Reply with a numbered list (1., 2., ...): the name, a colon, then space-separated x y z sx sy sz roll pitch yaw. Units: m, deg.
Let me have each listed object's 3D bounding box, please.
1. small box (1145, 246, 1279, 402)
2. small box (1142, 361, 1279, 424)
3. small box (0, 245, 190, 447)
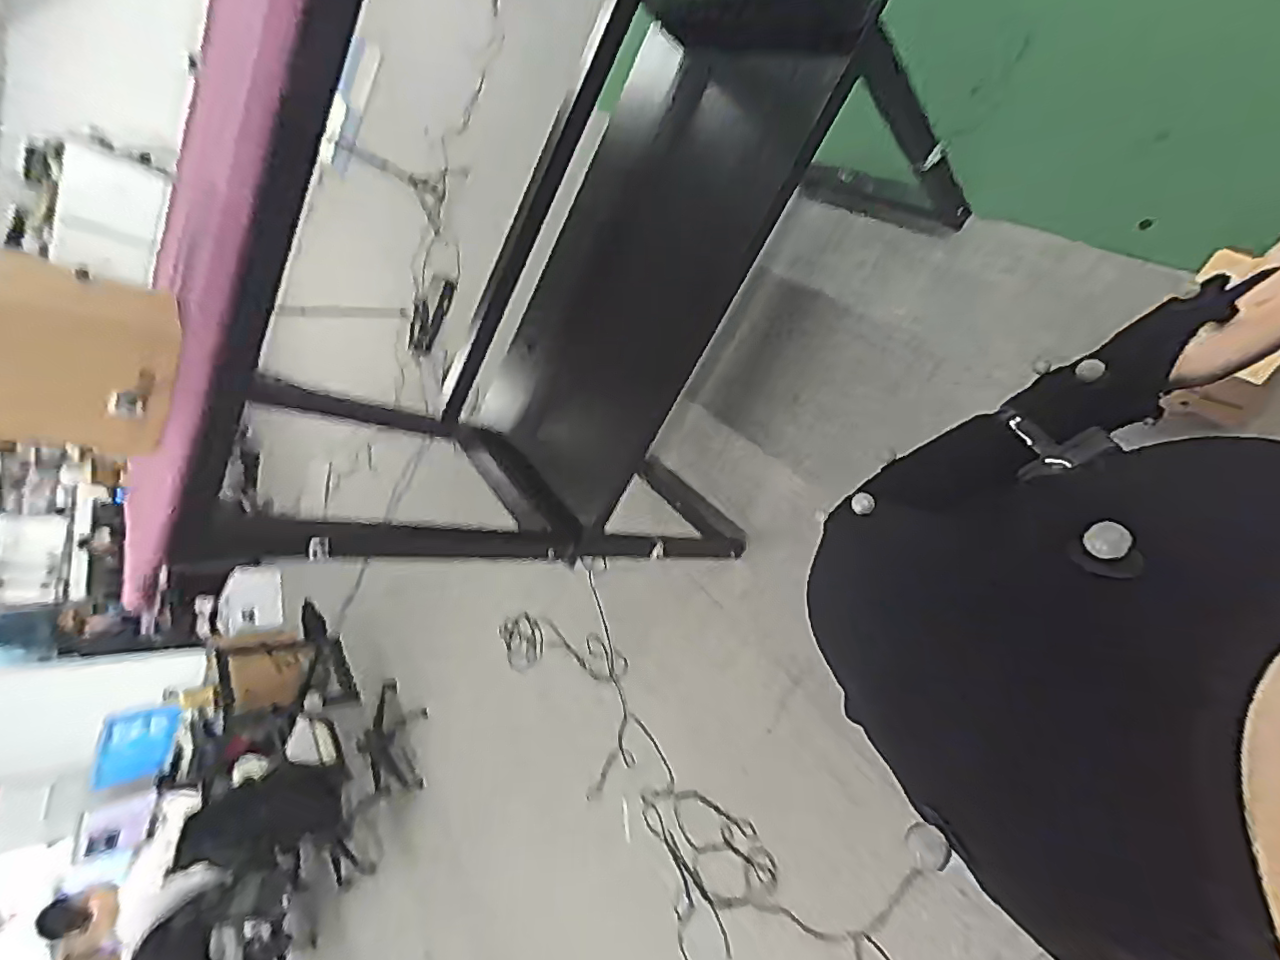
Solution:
1. small box: 0.999 -0.251 0.898 0.168 0.176 0.179 44 111 39
2. small box: 1.105 -0.225 1.019 0.168 0.176 0.179 43 112 38
3. small box: -0.669 -0.152 0.650 0.179 0.176 0.168 39 111 38
